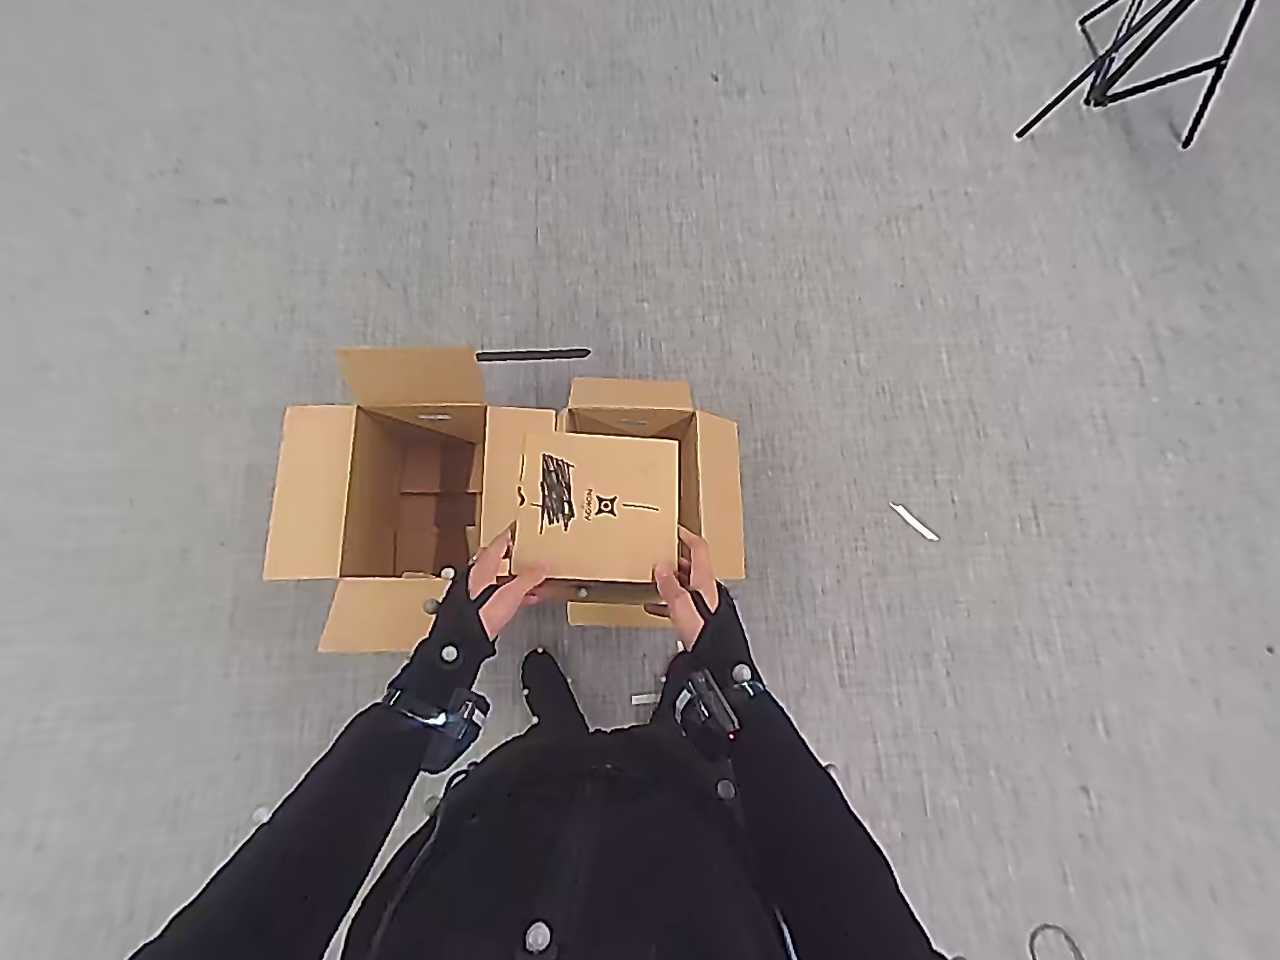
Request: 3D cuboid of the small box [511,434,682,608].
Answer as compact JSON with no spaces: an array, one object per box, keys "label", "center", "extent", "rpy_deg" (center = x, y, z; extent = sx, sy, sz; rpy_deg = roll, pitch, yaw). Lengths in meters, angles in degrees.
[{"label":"small box","center":[-0.048,0.058,0.655],"extent":[0.179,0.176,0.168],"rpy_deg":[4,69,-4]}]
